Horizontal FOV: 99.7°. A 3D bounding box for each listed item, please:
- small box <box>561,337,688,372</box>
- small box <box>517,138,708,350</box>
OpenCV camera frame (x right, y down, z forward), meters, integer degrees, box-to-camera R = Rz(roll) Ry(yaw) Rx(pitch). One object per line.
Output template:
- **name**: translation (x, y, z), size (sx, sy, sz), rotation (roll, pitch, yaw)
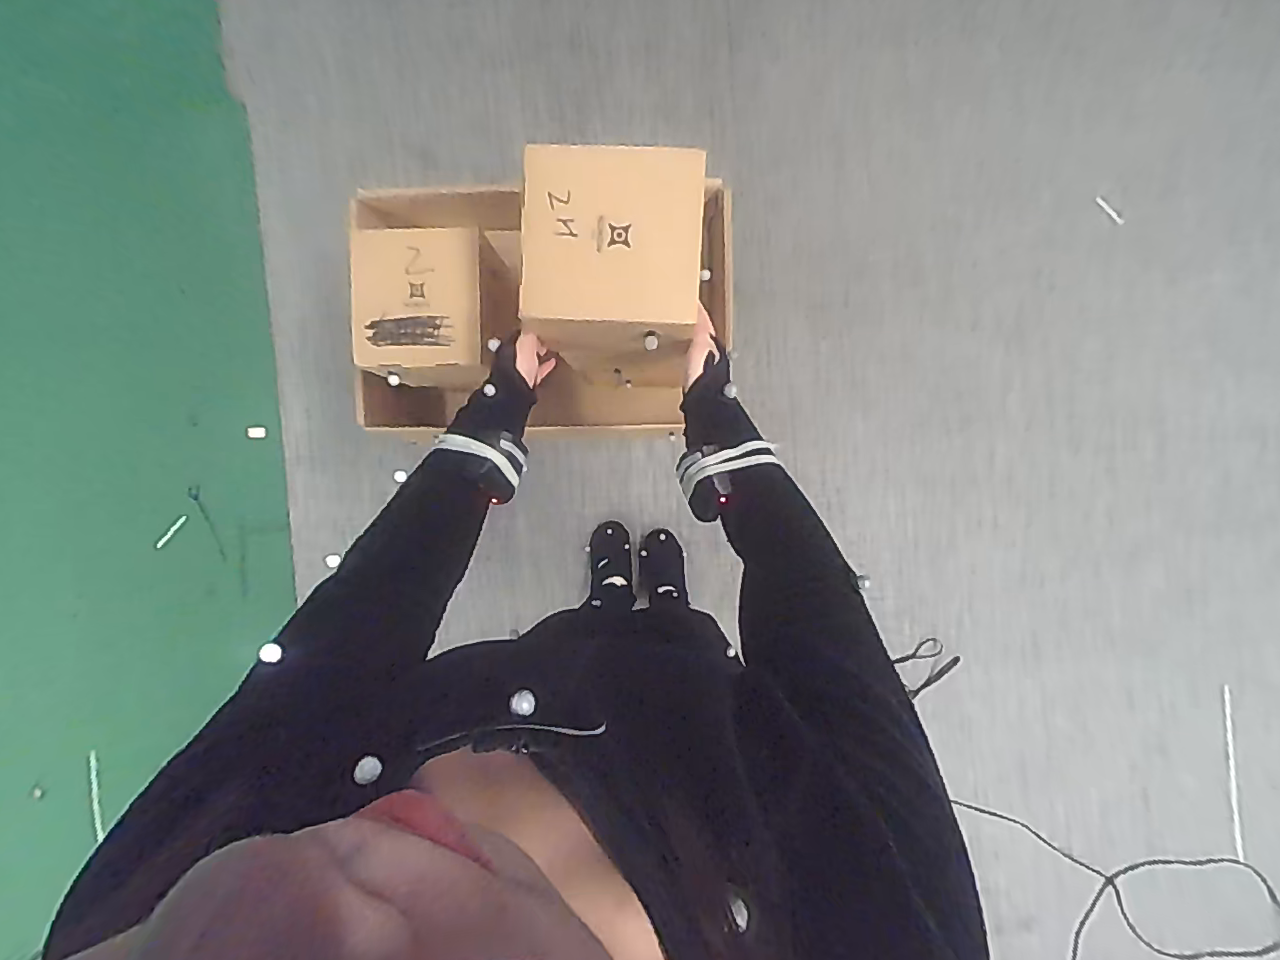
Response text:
- **small box**: translation (-0.016, -0.254, 0.759), size (0.168, 0.176, 0.179), rotation (2, 93, 3)
- **small box**: translation (-0.024, -0.243, 0.595), size (0.179, 0.176, 0.168), rotation (4, 92, 3)
